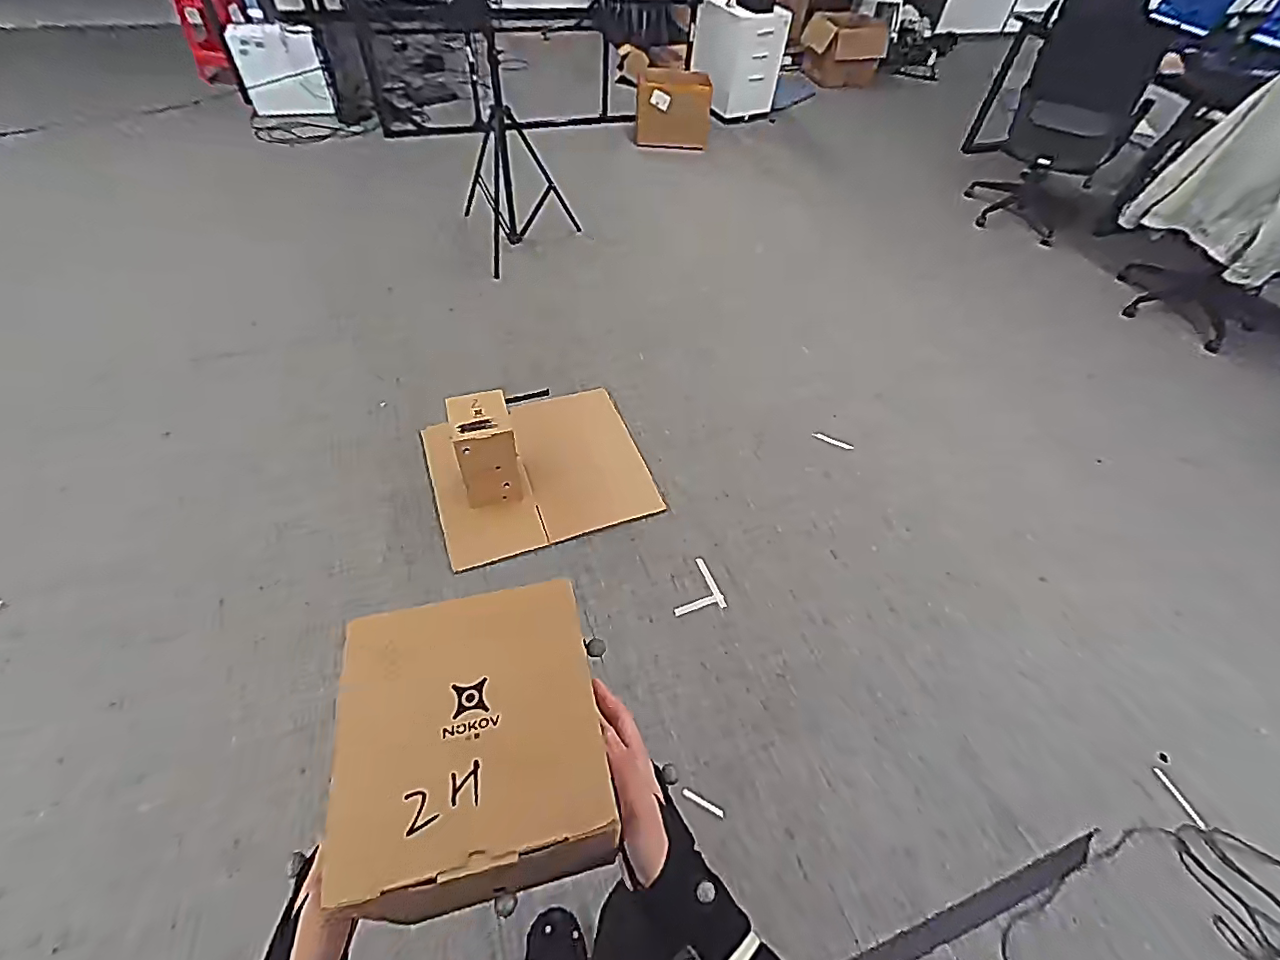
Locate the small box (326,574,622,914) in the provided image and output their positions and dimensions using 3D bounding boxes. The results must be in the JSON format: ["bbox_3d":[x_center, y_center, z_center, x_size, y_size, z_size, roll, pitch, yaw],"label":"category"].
[{"bbox_3d":[-0.114,0.202,0.418,0.168,0.176,0.179,-9,50,-11],"label":"small box"}]

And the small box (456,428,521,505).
[{"bbox_3d":[-0.483,-0.036,1.732,0.168,0.176,0.179,-11,54,-15],"label":"small box"}]
